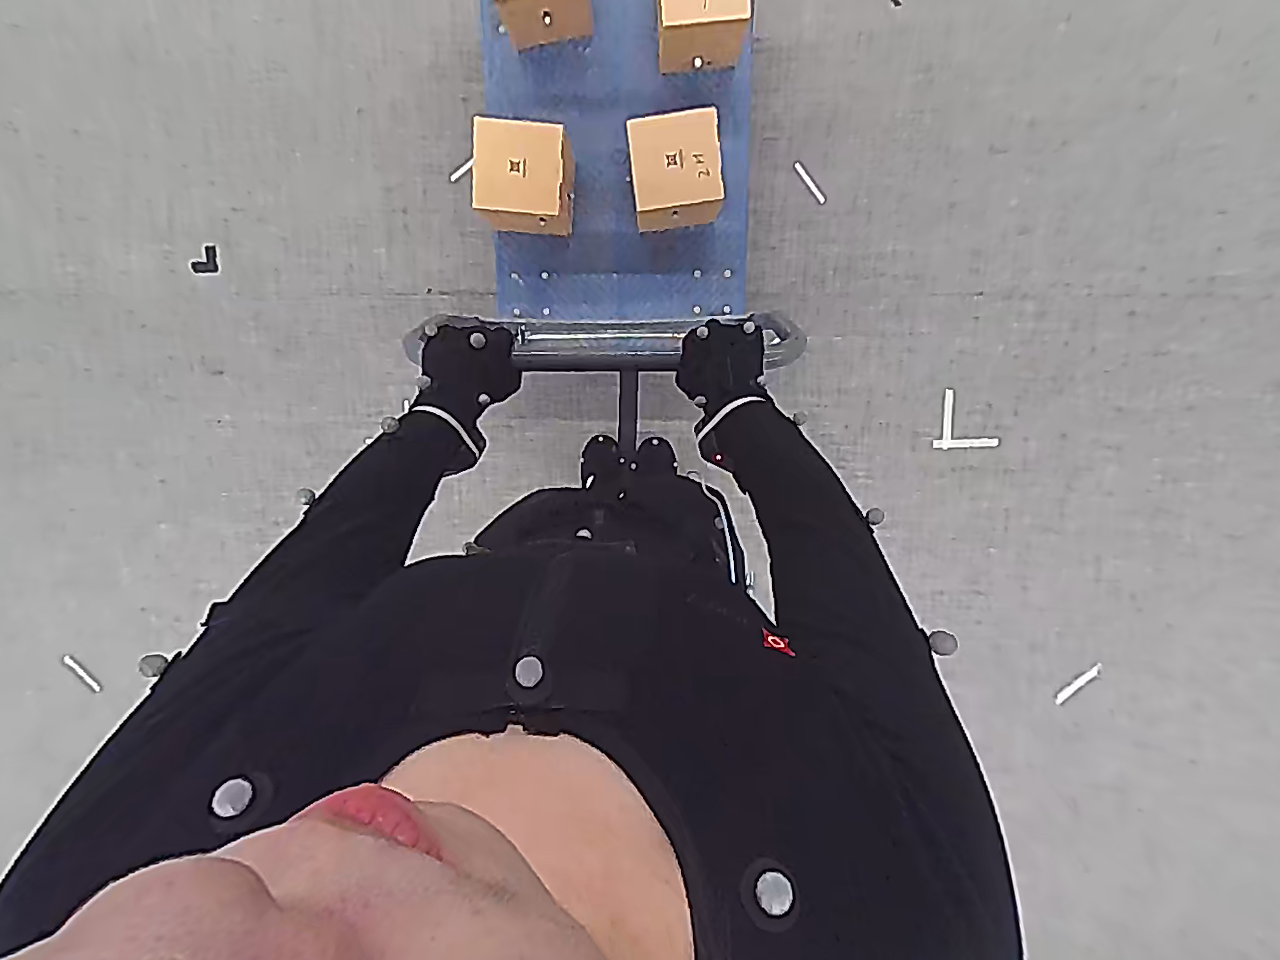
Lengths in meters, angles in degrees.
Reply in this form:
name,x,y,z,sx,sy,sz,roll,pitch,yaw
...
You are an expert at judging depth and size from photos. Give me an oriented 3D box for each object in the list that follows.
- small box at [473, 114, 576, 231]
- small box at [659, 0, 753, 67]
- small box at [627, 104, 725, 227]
name,x,y,z,sx,sy,sz,roll,pitch,yaw
small box,-0.234,-0.629,1.126,0.179,0.176,0.168,4,102,-1
small box,0.122,-0.947,1.049,0.168,0.176,0.179,-4,103,2
small box,0.074,-0.636,1.116,0.179,0.176,0.168,-6,102,3
